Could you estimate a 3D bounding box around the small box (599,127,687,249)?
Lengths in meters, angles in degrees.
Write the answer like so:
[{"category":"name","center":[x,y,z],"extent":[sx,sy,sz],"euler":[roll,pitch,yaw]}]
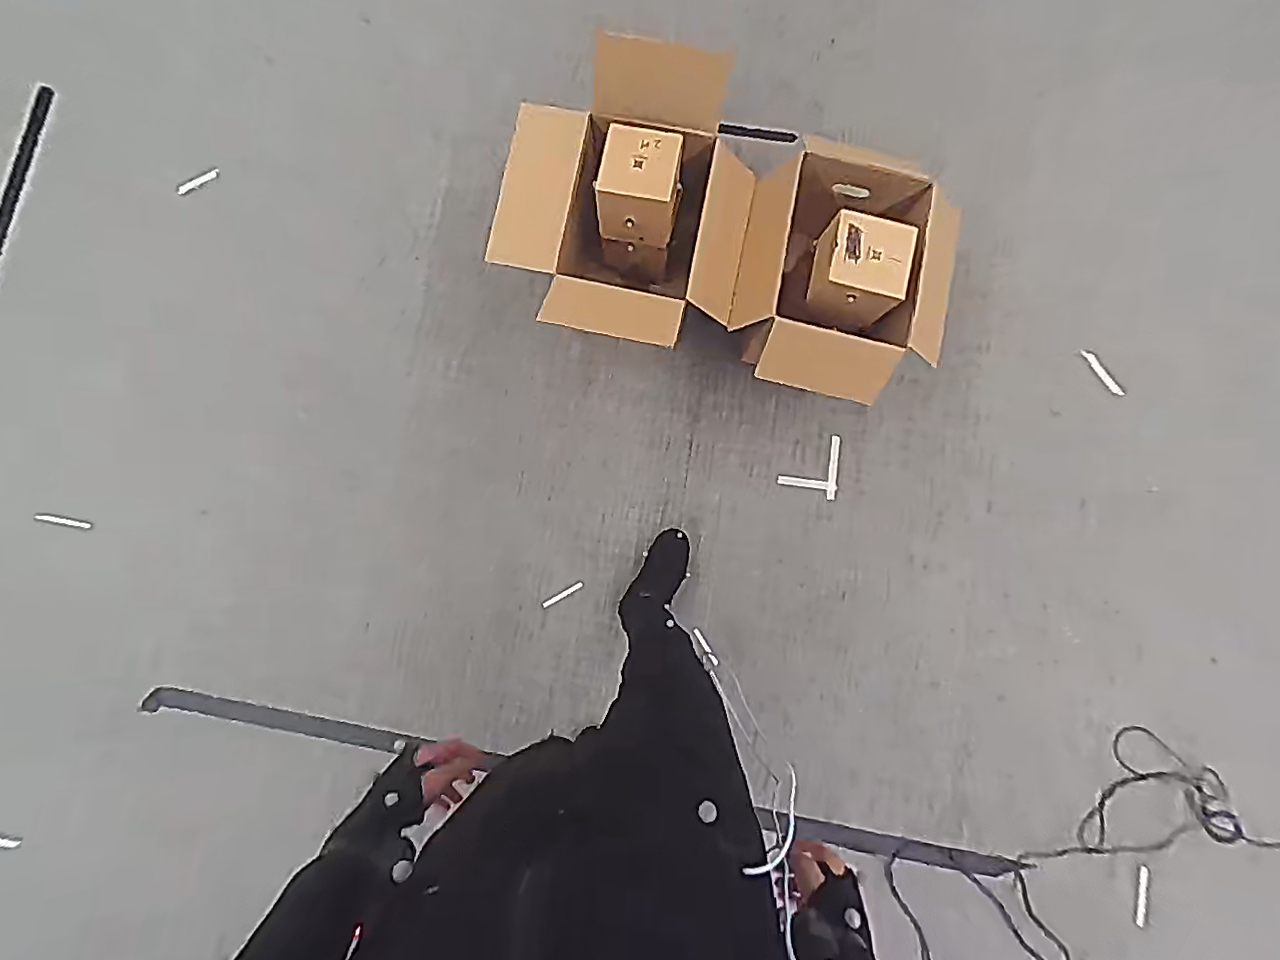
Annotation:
[{"category":"small box","center":[0.009,-0.668,1.254],"extent":[0.168,0.176,0.179],"euler":[11,79,2]}]
